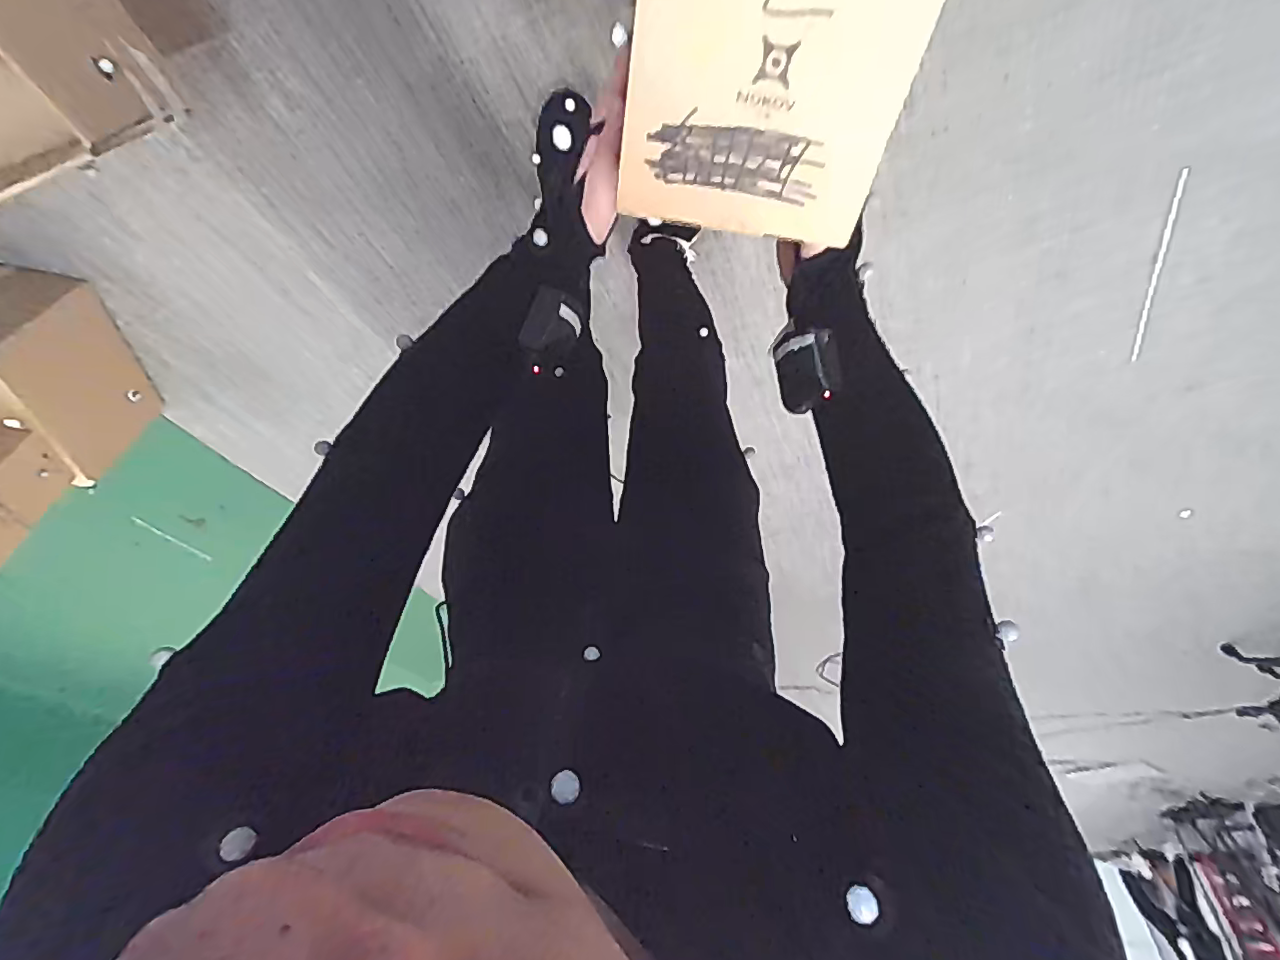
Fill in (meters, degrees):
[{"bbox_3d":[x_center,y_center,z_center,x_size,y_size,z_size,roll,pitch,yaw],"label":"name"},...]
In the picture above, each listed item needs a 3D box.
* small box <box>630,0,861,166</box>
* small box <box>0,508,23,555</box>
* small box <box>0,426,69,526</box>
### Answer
[{"bbox_3d":[0.086,-0.413,0.482,0.168,0.176,0.179,6,135,-6],"label":"small box"},{"bbox_3d":[-1.449,0.113,1.094,0.179,0.176,0.168,8,139,-8],"label":"small box"},{"bbox_3d":[-1.457,-0.014,1.198,0.179,0.176,0.168,7,140,-9],"label":"small box"}]
